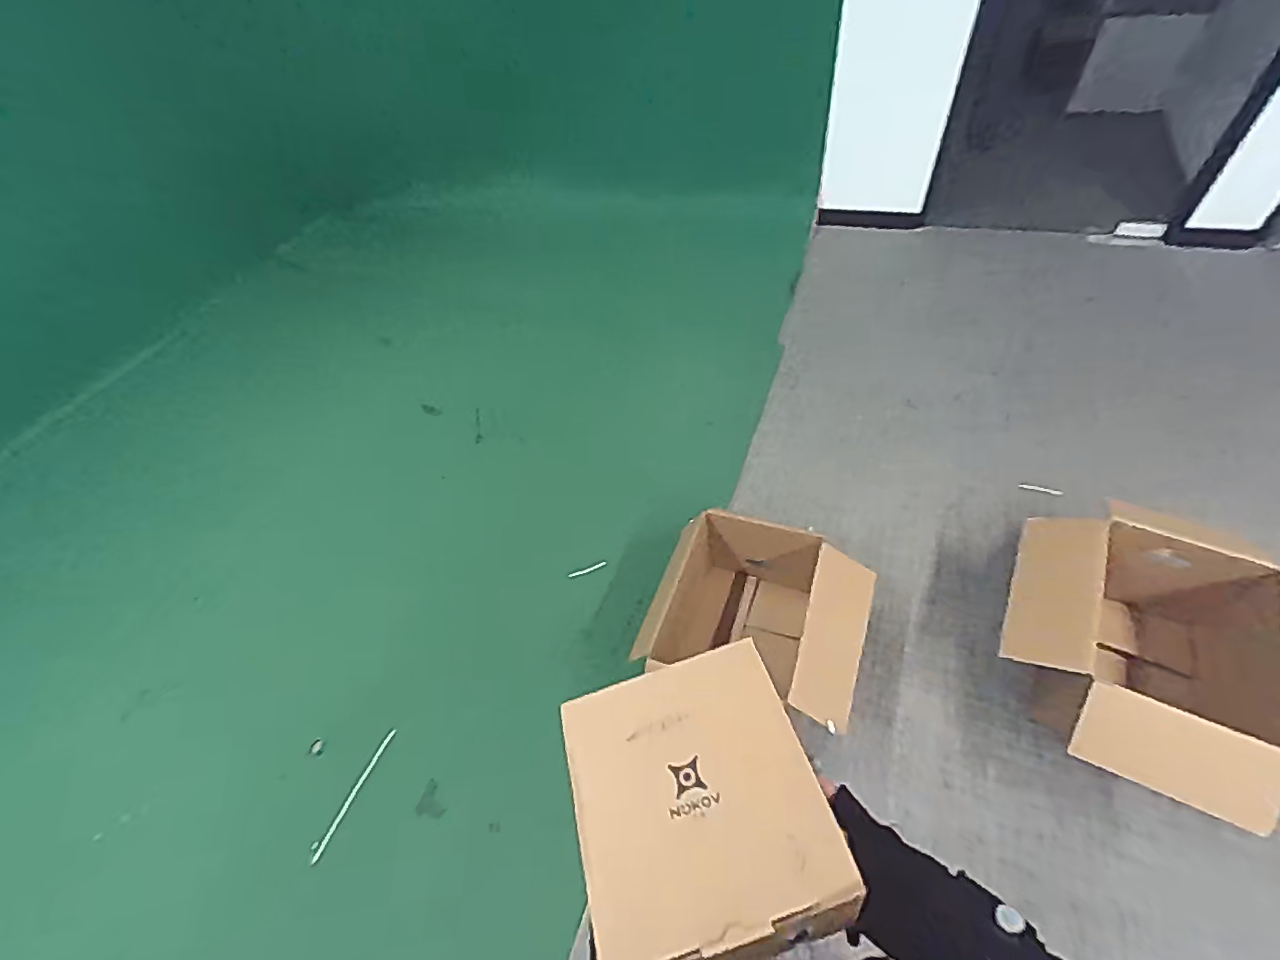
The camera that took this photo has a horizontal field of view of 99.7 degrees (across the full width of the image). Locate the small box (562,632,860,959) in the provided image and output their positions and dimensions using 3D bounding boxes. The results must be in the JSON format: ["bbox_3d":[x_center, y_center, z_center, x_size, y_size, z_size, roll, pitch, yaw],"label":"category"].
[{"bbox_3d":[0.051,0.257,0.427,0.168,0.176,0.179,-18,44,-2],"label":"small box"}]
